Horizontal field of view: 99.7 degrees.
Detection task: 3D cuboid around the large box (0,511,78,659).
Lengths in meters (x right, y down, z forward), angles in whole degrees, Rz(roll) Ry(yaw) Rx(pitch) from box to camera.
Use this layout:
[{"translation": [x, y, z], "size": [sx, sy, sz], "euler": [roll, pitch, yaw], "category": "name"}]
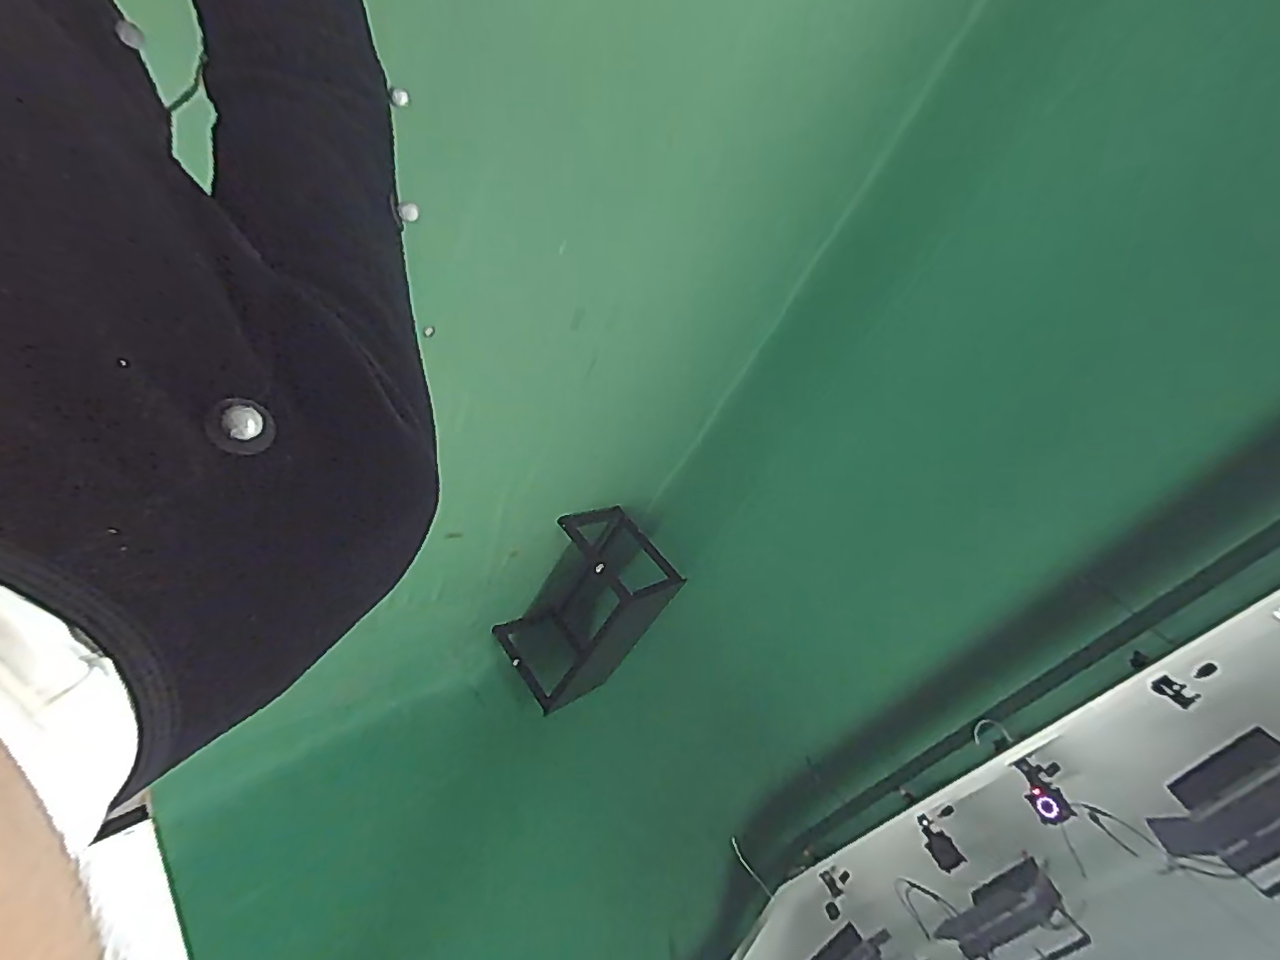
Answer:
[{"translation": [-1.781, 0.299, 1.345], "size": [0.408, 0.320, 0.320], "euler": [-34, 156, -21], "category": "large box"}]
